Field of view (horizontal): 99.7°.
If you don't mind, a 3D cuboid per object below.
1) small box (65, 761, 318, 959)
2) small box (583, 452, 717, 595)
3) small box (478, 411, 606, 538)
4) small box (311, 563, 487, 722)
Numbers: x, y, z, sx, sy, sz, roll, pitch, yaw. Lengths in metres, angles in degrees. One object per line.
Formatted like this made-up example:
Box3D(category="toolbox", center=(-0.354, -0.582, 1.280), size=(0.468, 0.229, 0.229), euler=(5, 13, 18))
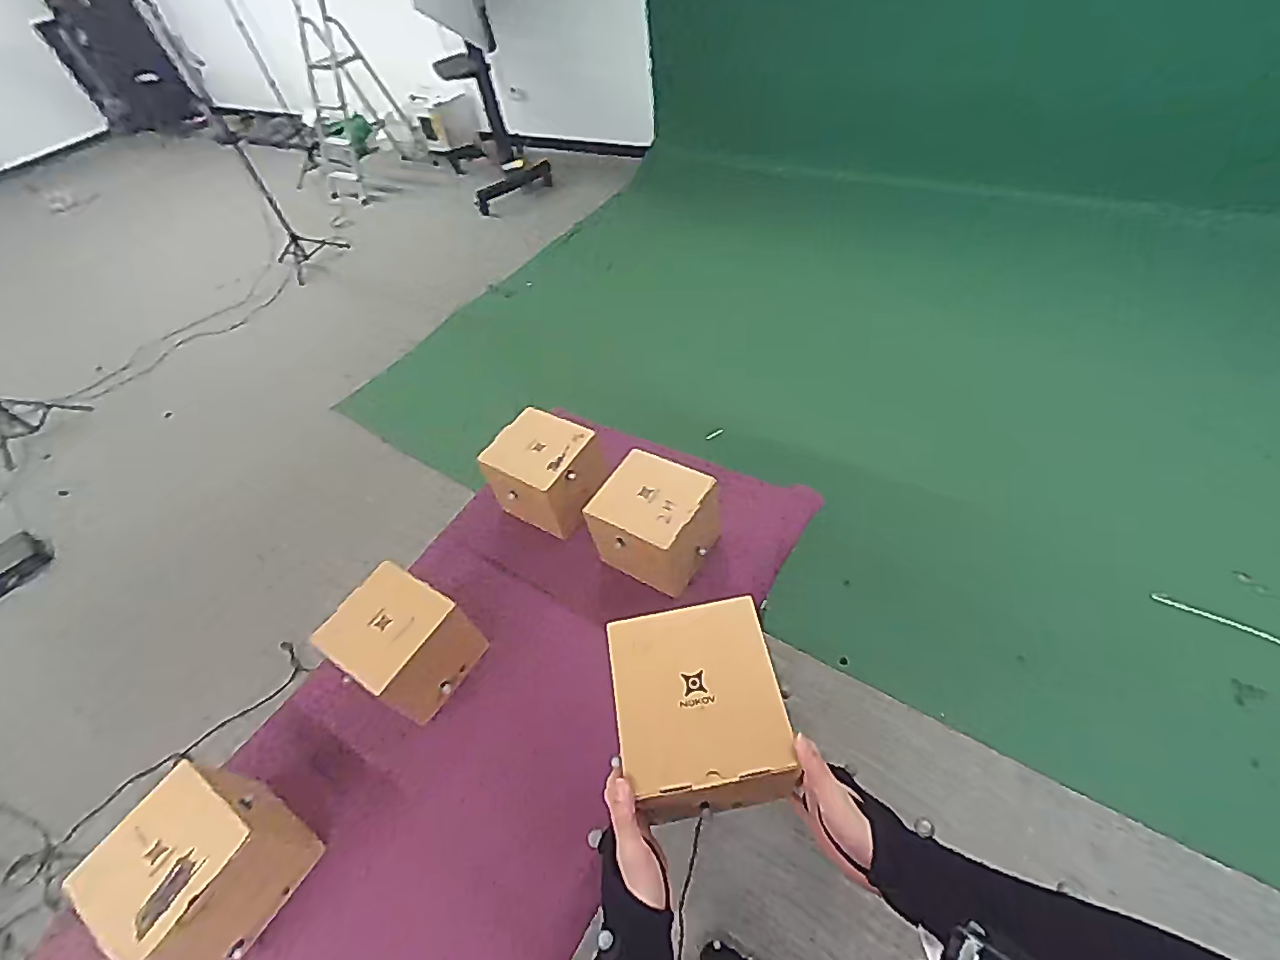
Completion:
Box3D(category="small box", center=(-0.587, 0.521, 0.731), size=(0.179, 0.176, 0.168), euler=(21, 56, 25))
Box3D(category="small box", center=(0.026, 0.082, 0.991), size=(0.179, 0.176, 0.168), euler=(23, 59, 27))
Box3D(category="small box", center=(-0.191, -0.008, 1.108), size=(0.179, 0.176, 0.168), euler=(22, 58, 25))
Box3D(category="small box", center=(-0.394, 0.276, 0.908), size=(0.179, 0.176, 0.168), euler=(23, 58, 25))
